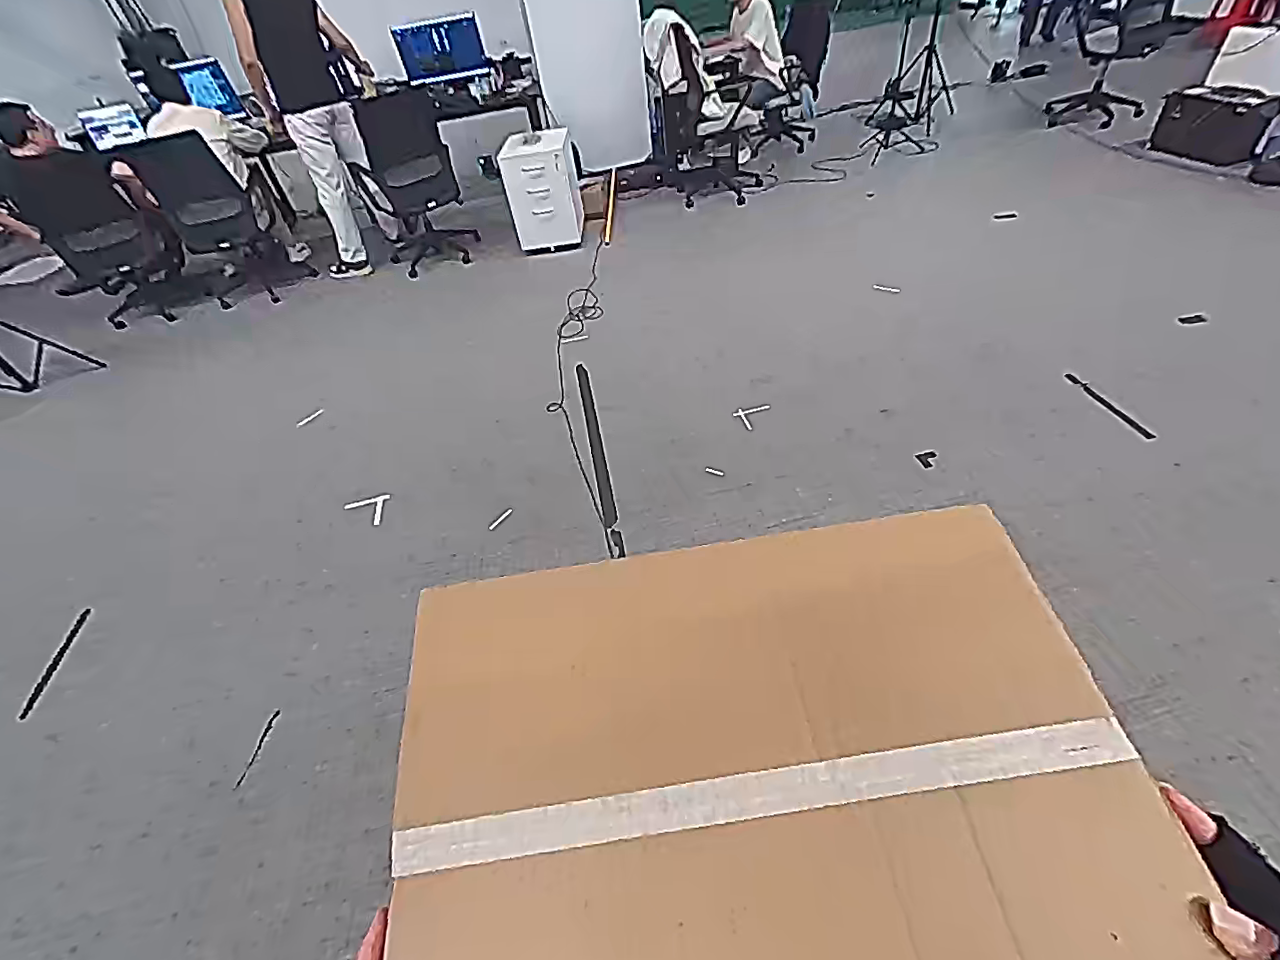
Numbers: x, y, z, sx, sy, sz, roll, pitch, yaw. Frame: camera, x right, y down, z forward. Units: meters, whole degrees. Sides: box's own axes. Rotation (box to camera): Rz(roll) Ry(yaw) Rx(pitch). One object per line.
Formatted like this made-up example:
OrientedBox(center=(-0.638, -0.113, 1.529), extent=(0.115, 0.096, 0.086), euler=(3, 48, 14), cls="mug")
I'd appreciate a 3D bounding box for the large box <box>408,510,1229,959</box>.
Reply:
OrientedBox(center=(0.080, 0.262, 0.431), extent=(0.408, 0.320, 0.320), euler=(-9, 56, 0), cls="large box")
